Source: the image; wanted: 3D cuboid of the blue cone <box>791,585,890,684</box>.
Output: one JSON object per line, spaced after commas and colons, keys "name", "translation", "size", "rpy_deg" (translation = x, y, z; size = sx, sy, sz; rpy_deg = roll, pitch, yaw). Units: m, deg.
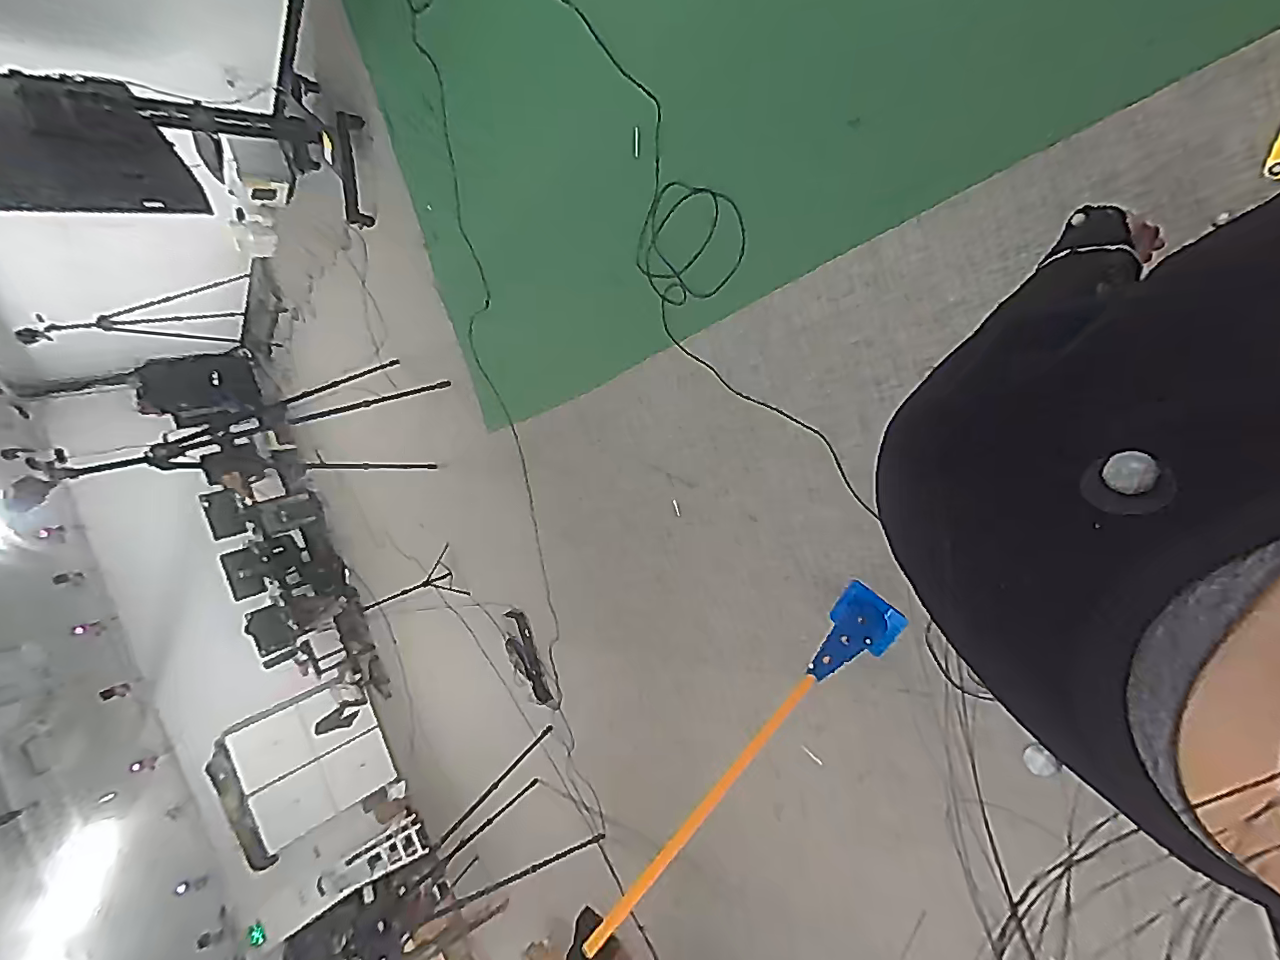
{"name": "blue cone", "translation": [0.578, 0.504, 1.634], "size": [0.192, 0.380, 0.193], "rpy_deg": [38, 133, 29]}
